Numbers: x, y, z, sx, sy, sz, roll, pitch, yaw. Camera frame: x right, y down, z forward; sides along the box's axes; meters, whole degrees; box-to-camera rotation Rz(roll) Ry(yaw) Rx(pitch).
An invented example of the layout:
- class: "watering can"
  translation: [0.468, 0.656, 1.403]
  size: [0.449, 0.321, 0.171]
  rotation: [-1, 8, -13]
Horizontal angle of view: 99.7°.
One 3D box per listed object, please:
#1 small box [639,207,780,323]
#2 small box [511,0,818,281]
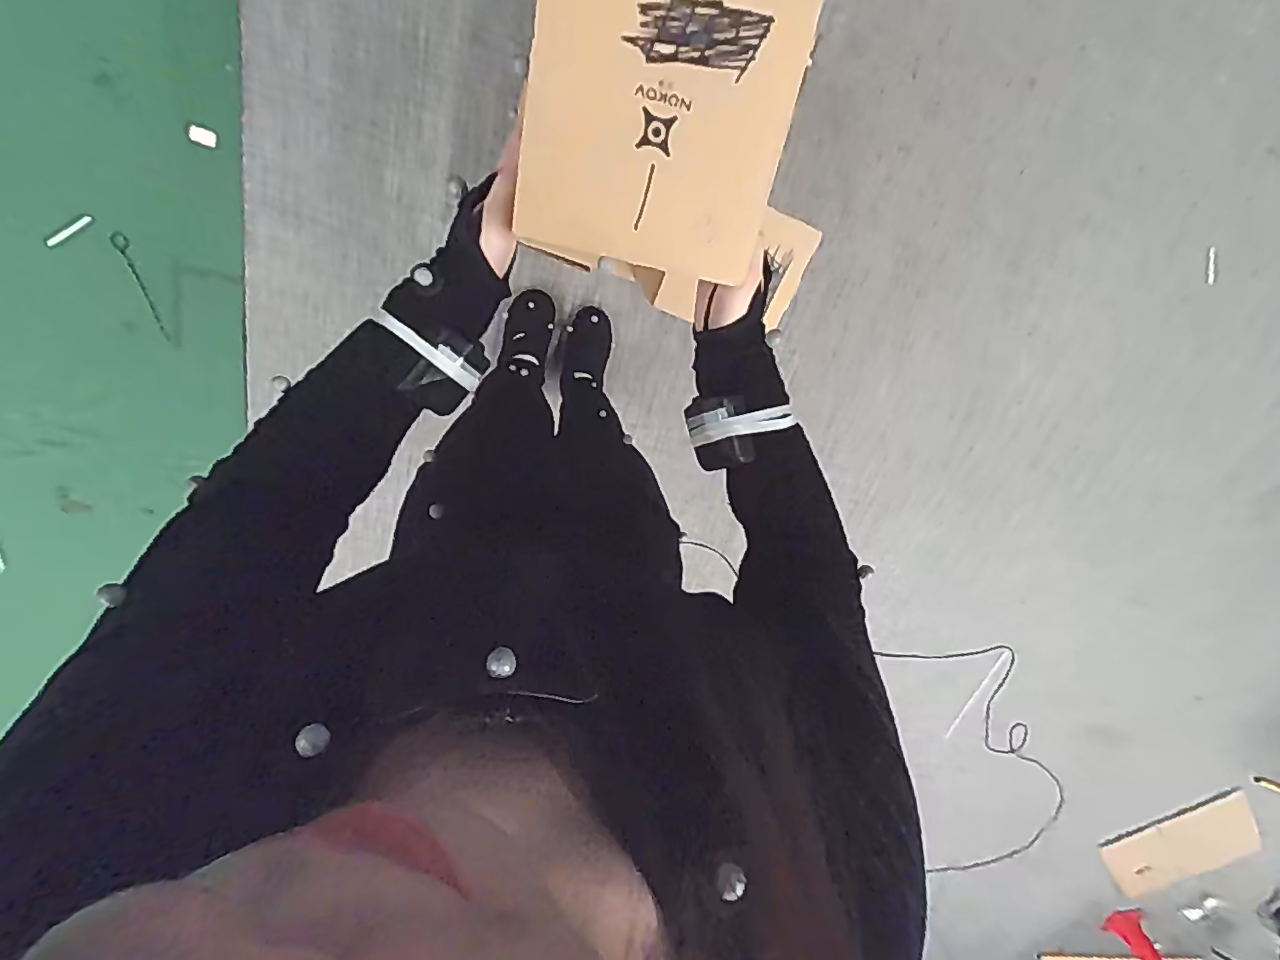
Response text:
- class: "small box"
  translation: [0.103, -0.388, 0.915]
  size: [0.168, 0.176, 0.179]
  rotation: [17, 112, -13]
- class: "small box"
  translation: [0.001, -0.265, 0.409]
  size: [0.168, 0.176, 0.179]
  rotation: [9, 114, -12]
